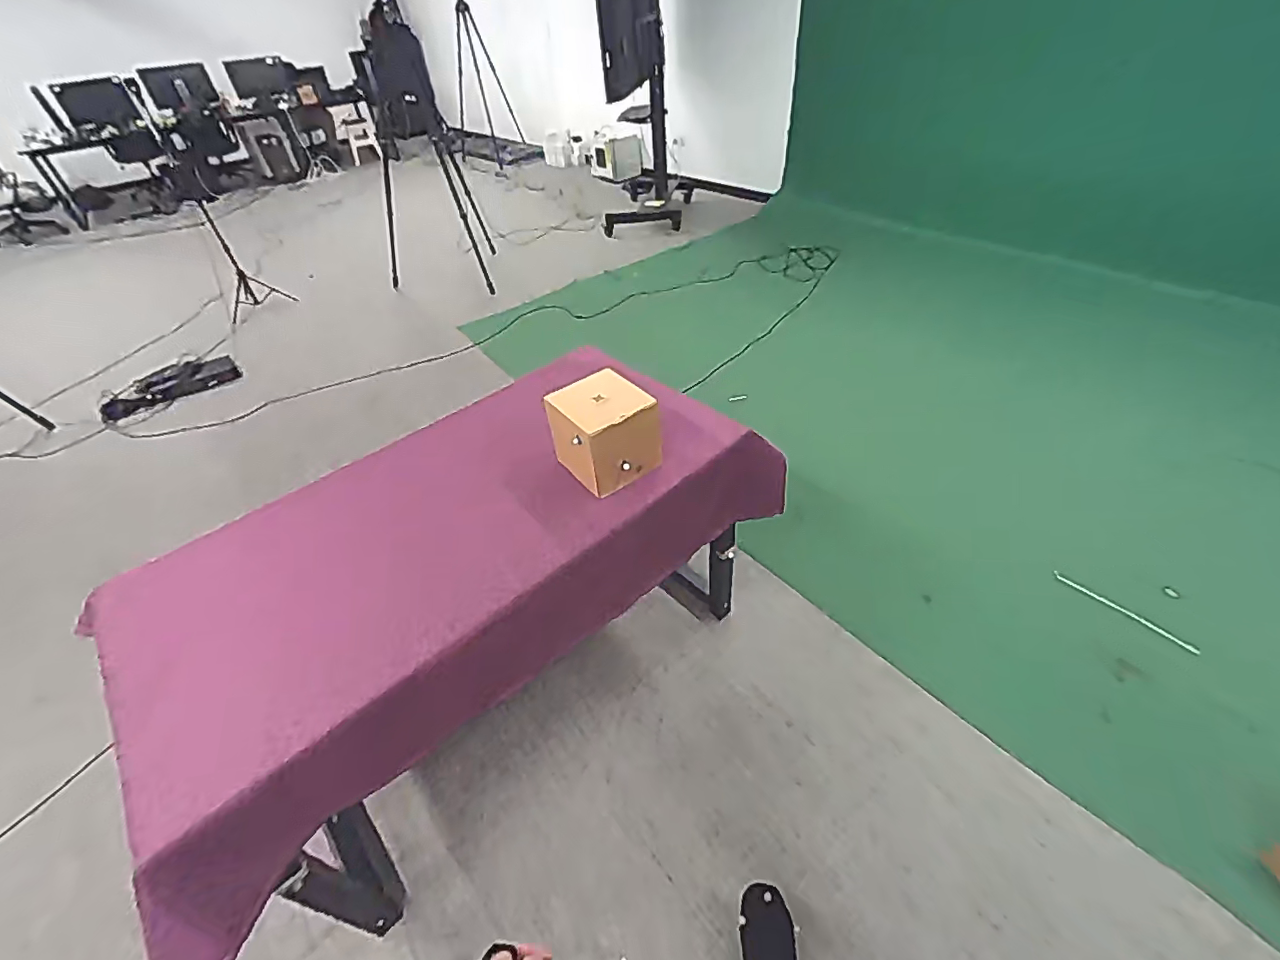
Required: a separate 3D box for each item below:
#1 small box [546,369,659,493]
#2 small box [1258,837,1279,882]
[{"bbox_3d":[-0.075,-0.103,1.143,0.168,0.176,0.179,-30,48,-24],"label":"small box"},{"bbox_3d":[1.430,0.783,1.080,0.179,0.176,0.168,-13,43,-8],"label":"small box"}]
